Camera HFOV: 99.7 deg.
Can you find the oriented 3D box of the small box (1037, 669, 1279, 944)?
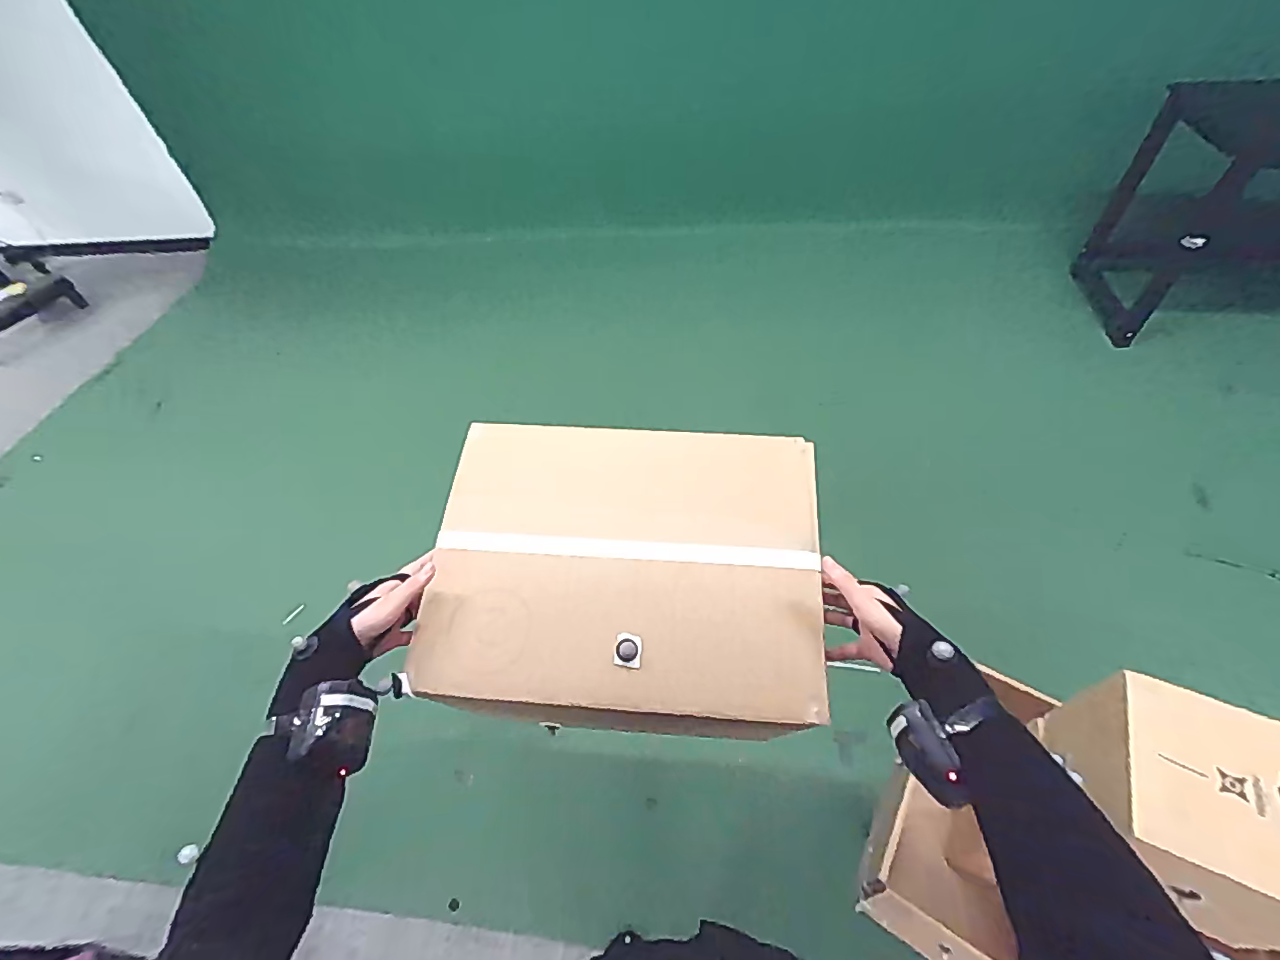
[{"bbox_3d":[0.540,0.326,0.542,0.179,0.176,0.168,18,53,21],"label":"small box"}]
